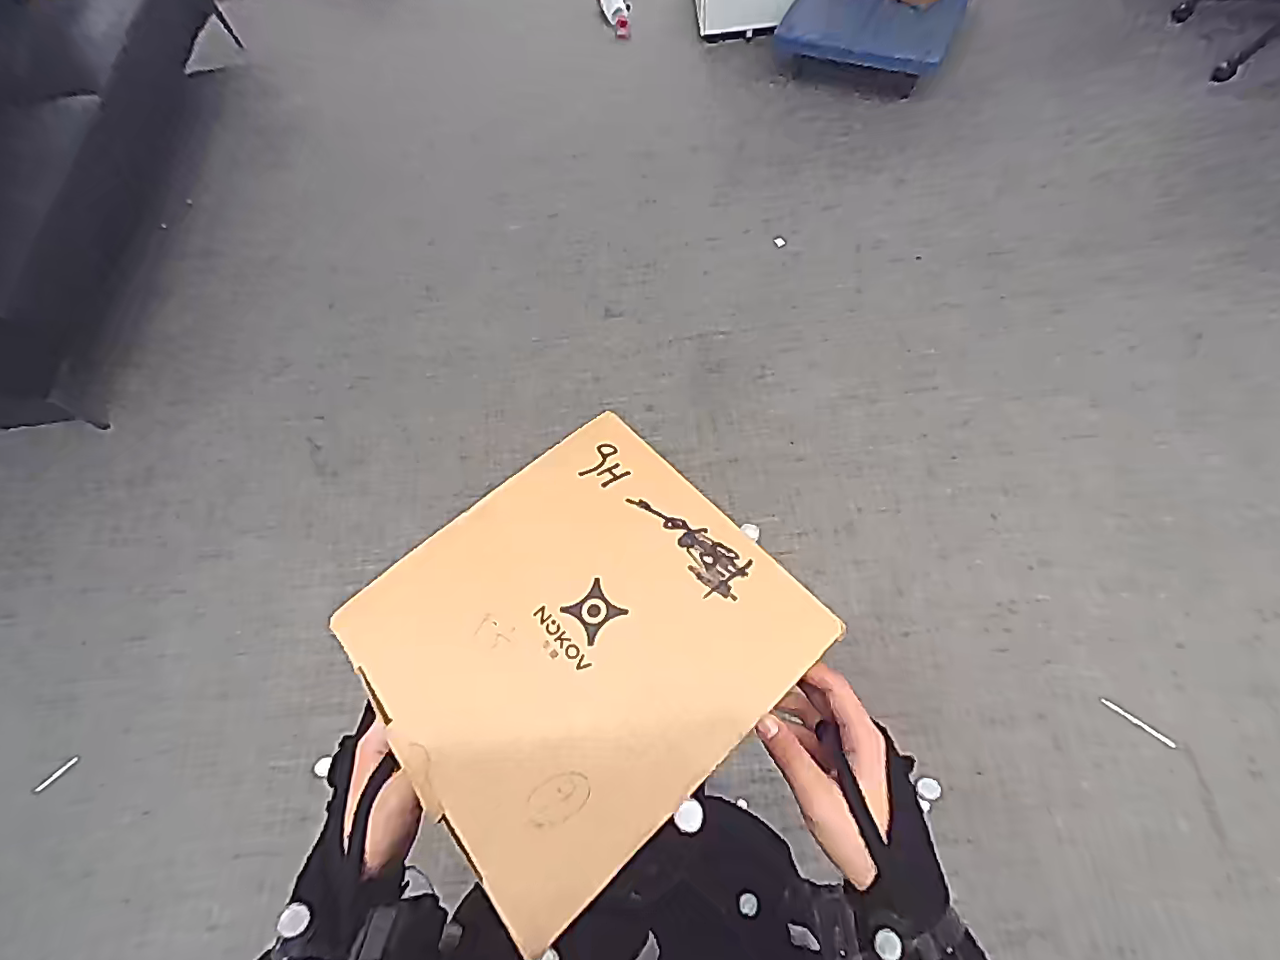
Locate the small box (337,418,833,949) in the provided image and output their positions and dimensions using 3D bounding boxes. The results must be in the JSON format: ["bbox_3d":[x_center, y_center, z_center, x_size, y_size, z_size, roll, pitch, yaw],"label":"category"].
[{"bbox_3d":[-0.022,0.106,0.315,0.179,0.176,0.168,-38,64,-16],"label":"small box"}]
